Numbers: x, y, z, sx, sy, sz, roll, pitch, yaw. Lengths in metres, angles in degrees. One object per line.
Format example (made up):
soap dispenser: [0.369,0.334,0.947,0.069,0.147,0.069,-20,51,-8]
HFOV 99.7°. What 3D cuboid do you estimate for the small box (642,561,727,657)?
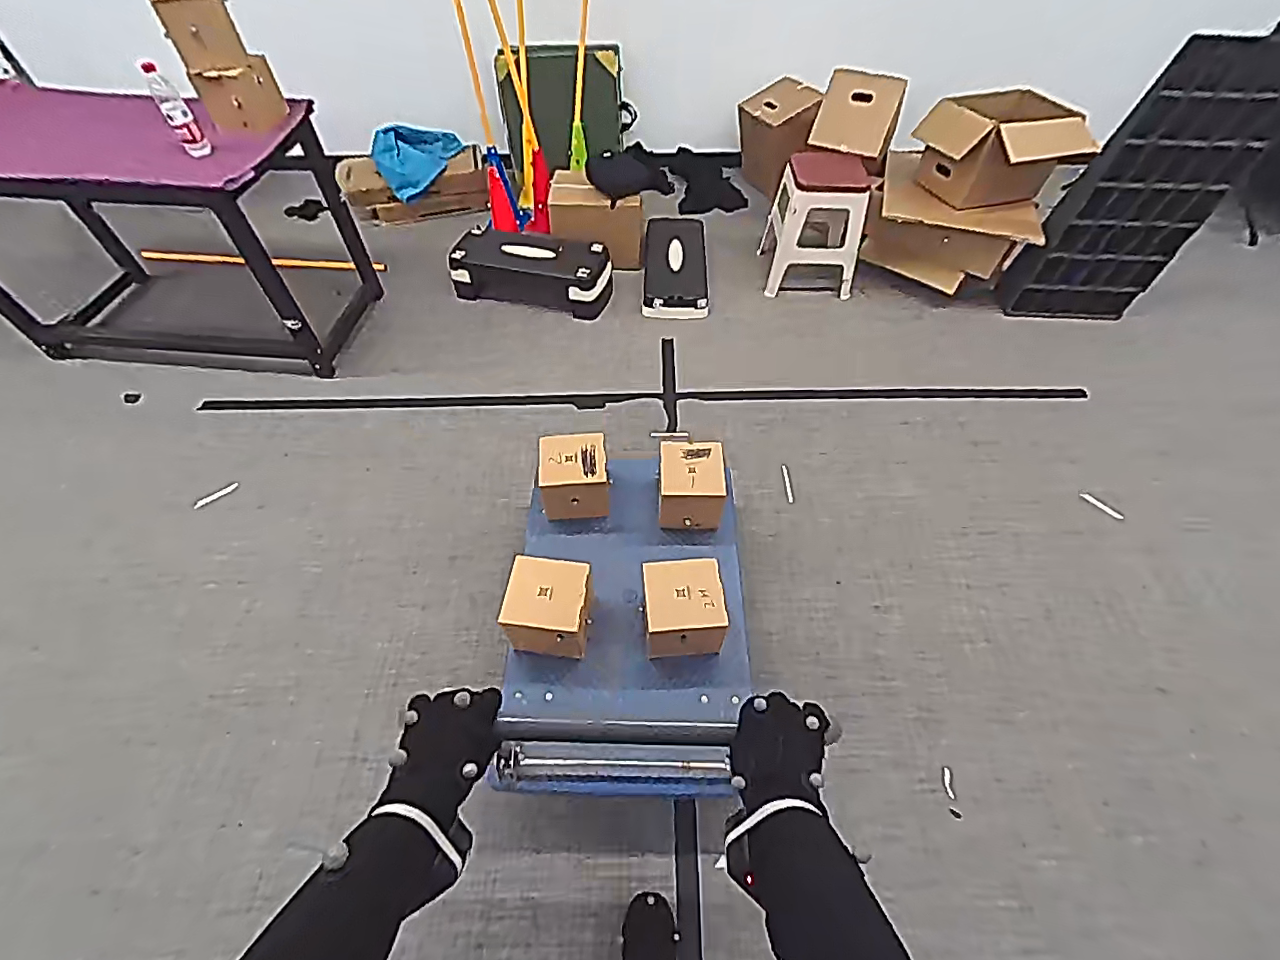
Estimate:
small box: [0.097,0.306,1.264,0.179,0.176,0.168,-3,54,-3]

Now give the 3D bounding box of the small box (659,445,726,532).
small box: [0.137,0.024,1.472,0.168,0.176,0.179,1,55,1]

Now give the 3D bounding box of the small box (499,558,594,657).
small box: [-0.210,0.302,1.265,0.179,0.176,0.168,7,53,3]
